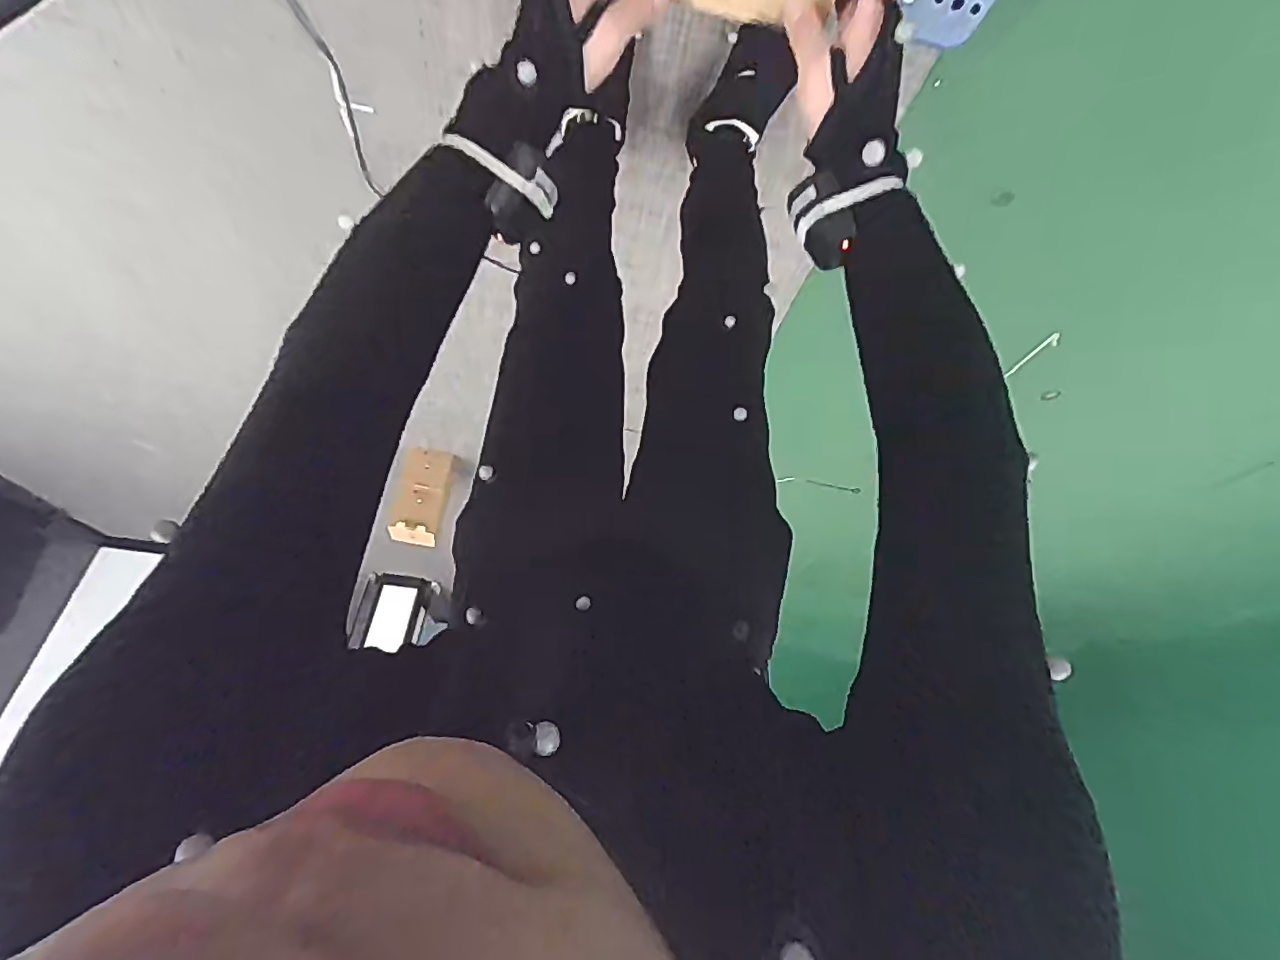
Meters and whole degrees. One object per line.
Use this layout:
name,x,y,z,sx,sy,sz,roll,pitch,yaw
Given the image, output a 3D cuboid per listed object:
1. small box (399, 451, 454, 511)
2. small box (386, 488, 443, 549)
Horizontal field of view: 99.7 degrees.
small box,-0.849,0.002,2.163,0.168,0.176,0.179,11,150,-9
small box,-0.866,0.151,2.093,0.168,0.176,0.179,12,151,-14
